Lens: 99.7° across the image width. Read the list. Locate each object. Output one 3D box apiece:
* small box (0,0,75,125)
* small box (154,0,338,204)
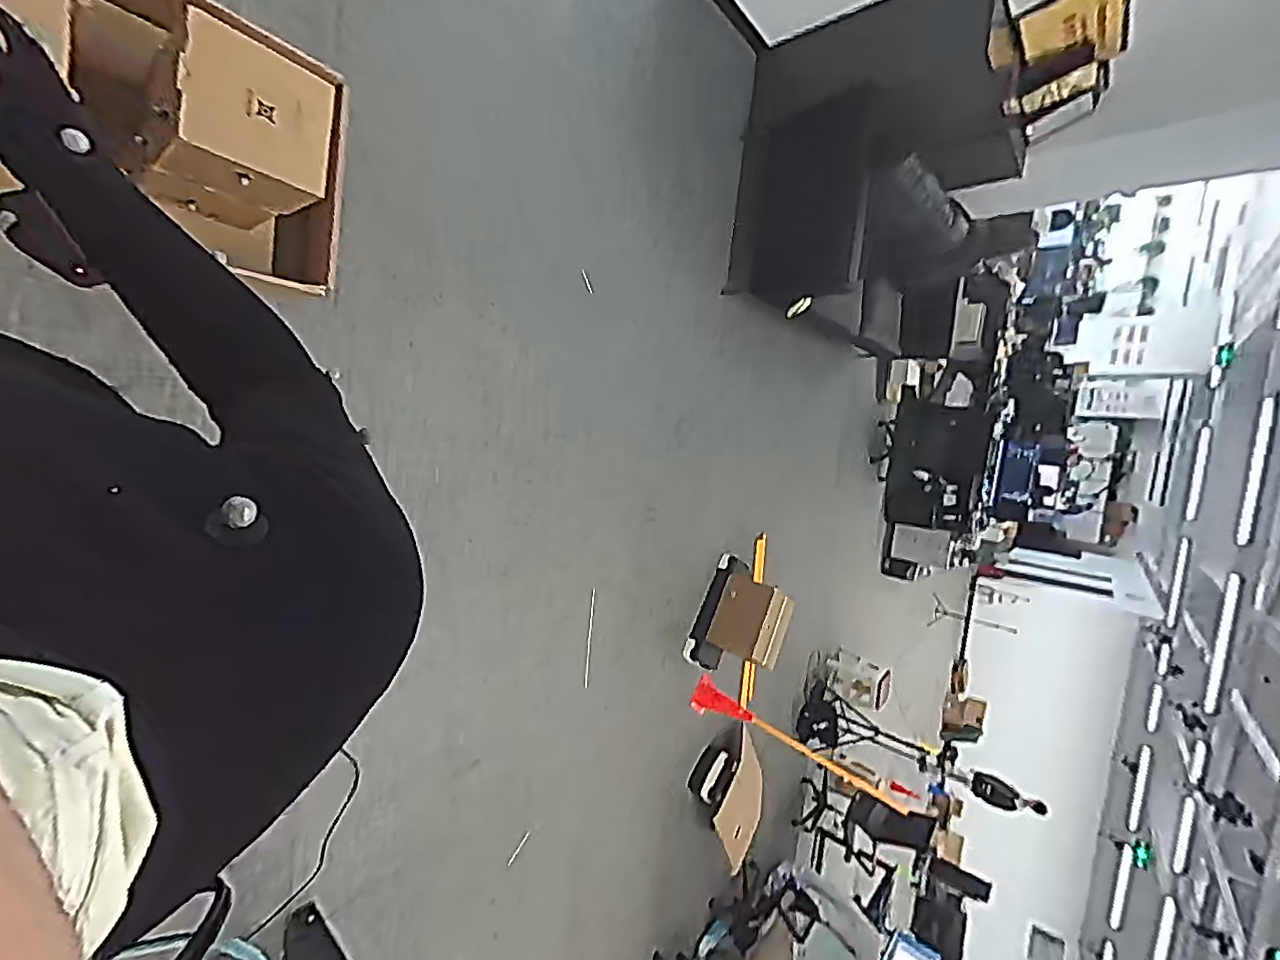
[{"bbox_3d":[-0.739,-0.533,0.584,0.168,0.176,0.179,2,96,-51],"label":"small box"},{"bbox_3d":[-0.576,-0.527,0.789,0.179,0.176,0.168,4,96,-52],"label":"small box"}]
